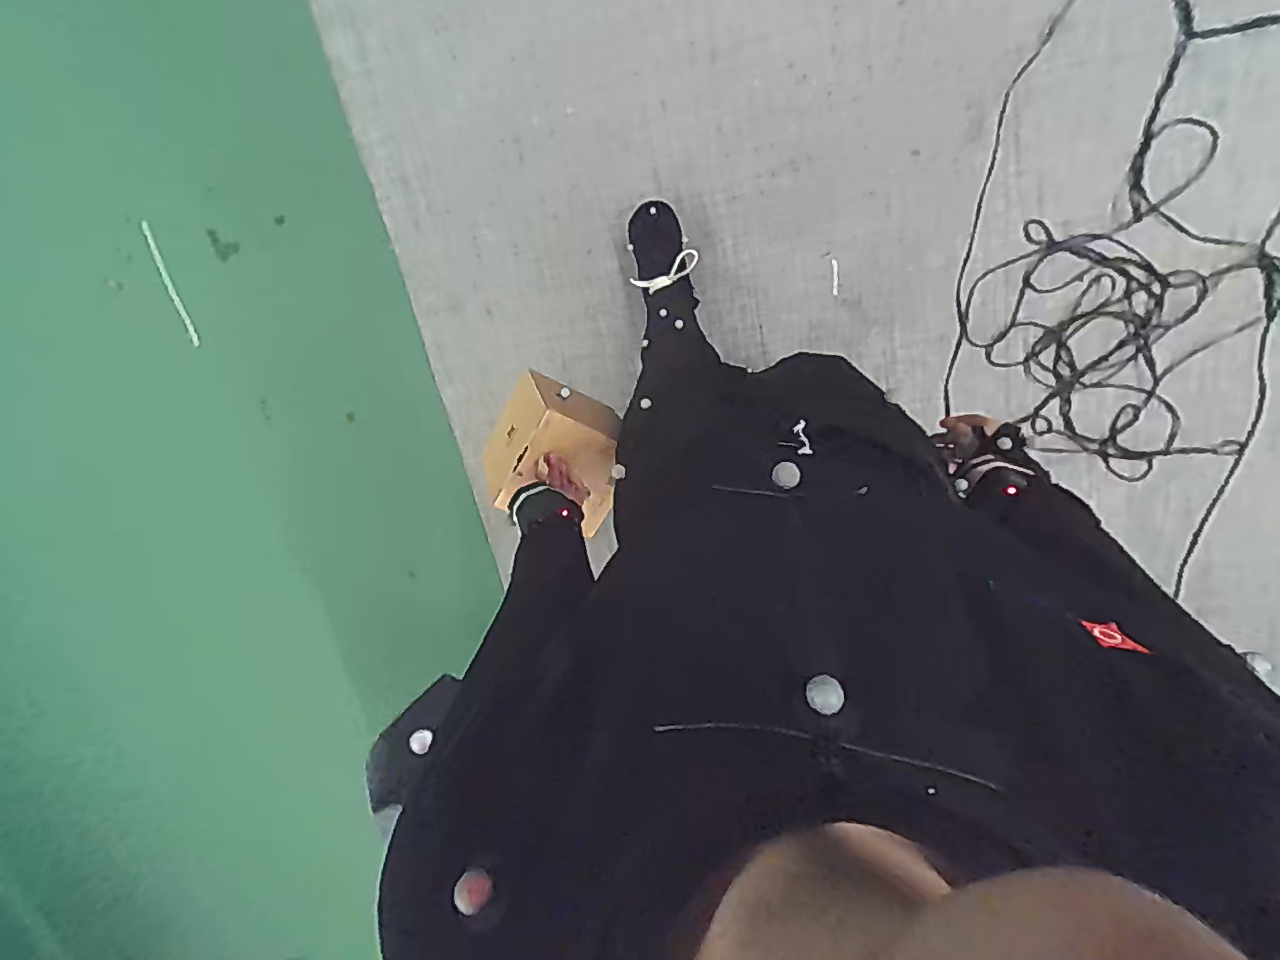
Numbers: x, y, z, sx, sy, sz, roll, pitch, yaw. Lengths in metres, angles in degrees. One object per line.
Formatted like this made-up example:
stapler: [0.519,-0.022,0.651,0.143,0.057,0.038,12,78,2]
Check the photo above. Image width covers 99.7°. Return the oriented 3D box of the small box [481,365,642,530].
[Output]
small box: [-0.125,-0.047,0.833,0.176,0.179,0.168,25,108,-31]
